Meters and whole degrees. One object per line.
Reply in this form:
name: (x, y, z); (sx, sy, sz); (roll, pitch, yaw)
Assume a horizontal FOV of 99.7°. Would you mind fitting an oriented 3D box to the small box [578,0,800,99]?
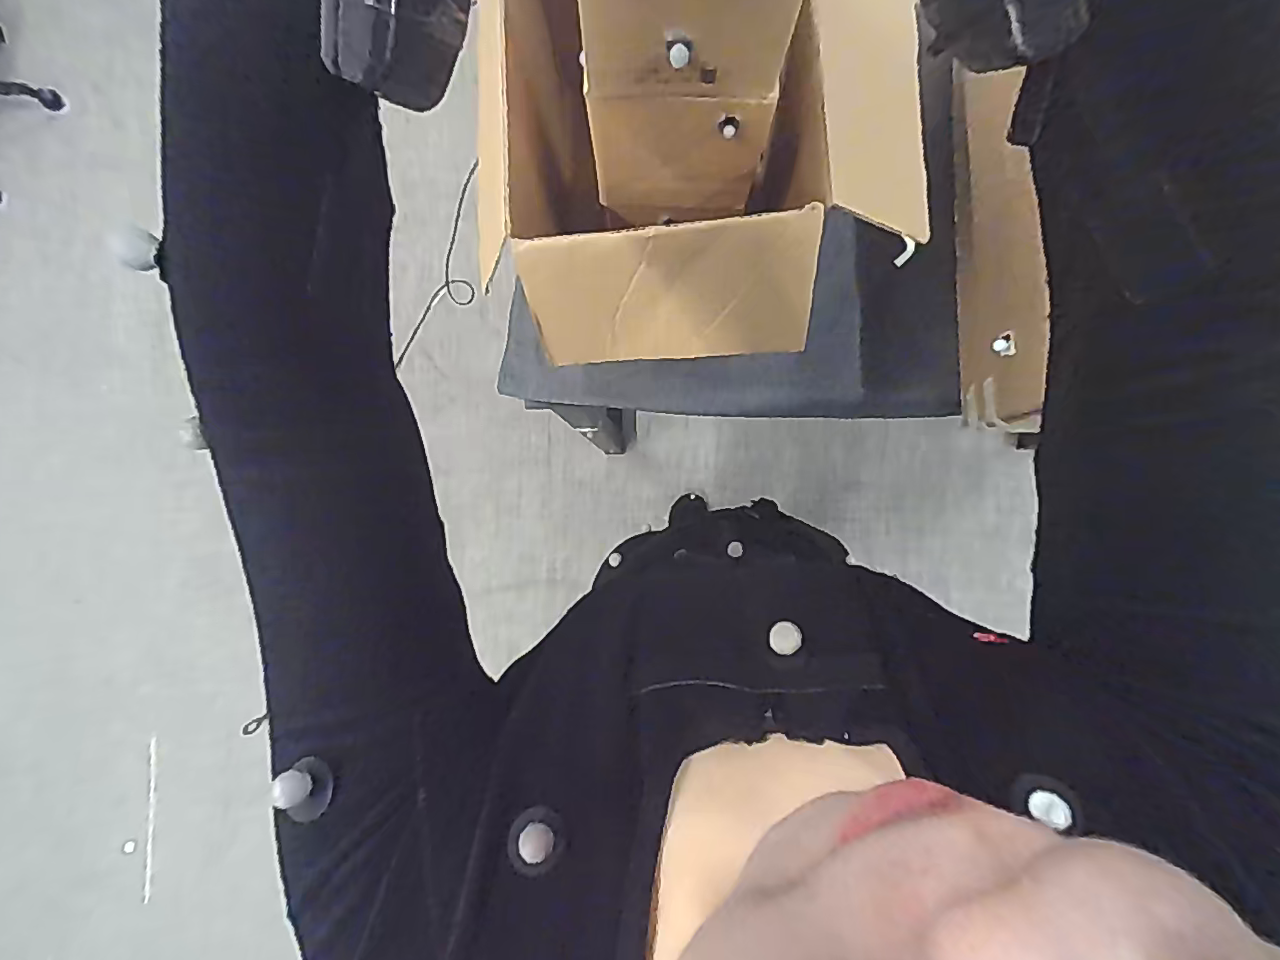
small box: (0.034, -0.431, 0.404); (0.168, 0.176, 0.179); (-2, 85, 0)
